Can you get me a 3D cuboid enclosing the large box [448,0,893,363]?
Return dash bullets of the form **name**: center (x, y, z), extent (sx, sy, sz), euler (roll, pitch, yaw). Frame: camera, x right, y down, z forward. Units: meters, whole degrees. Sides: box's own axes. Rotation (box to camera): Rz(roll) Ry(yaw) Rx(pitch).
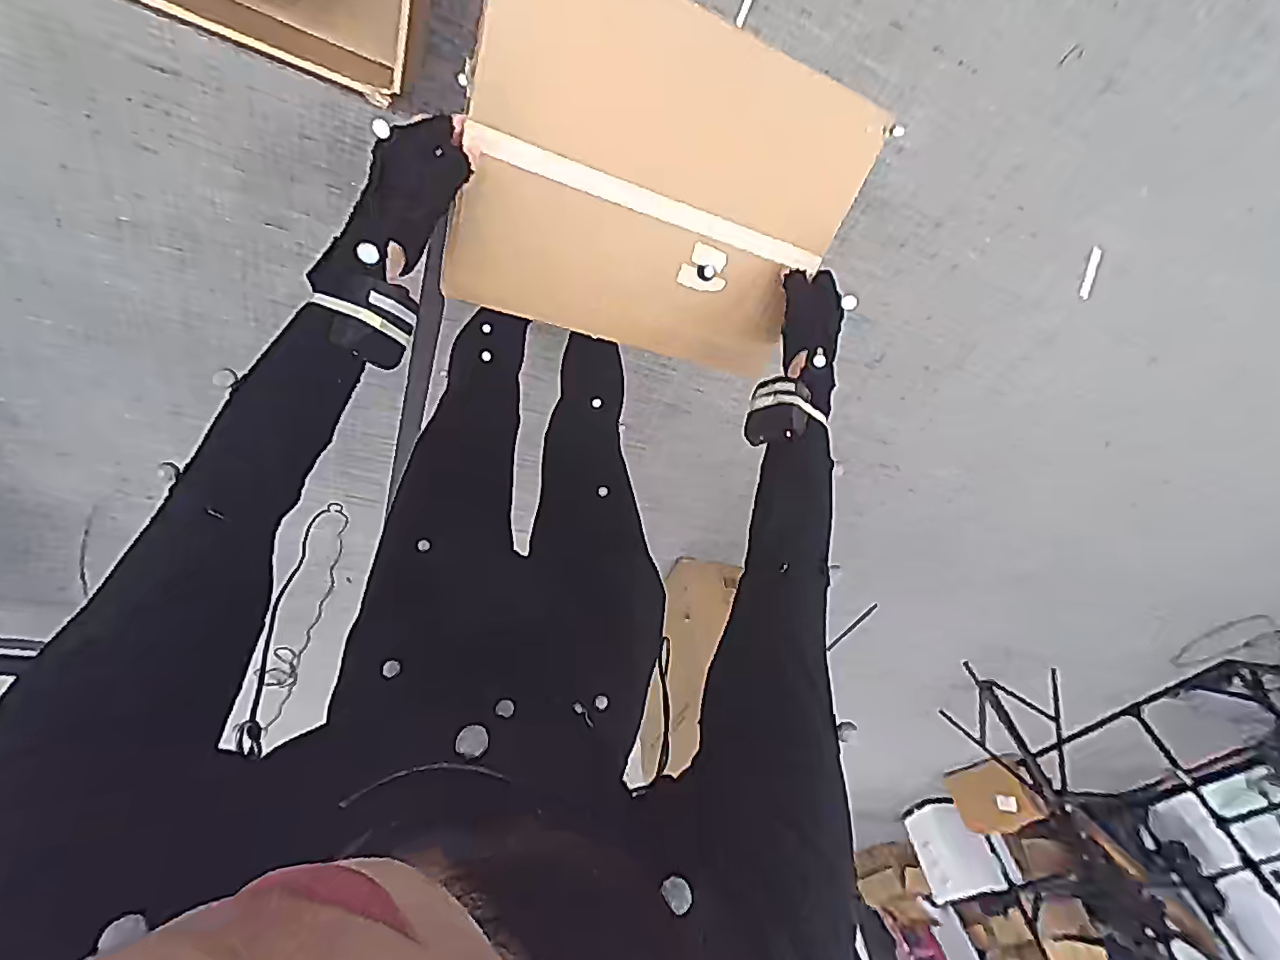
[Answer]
- **large box**: center (-0.006, -0.387, 0.667), extent (0.408, 0.320, 0.320), euler (8, 127, -23)
